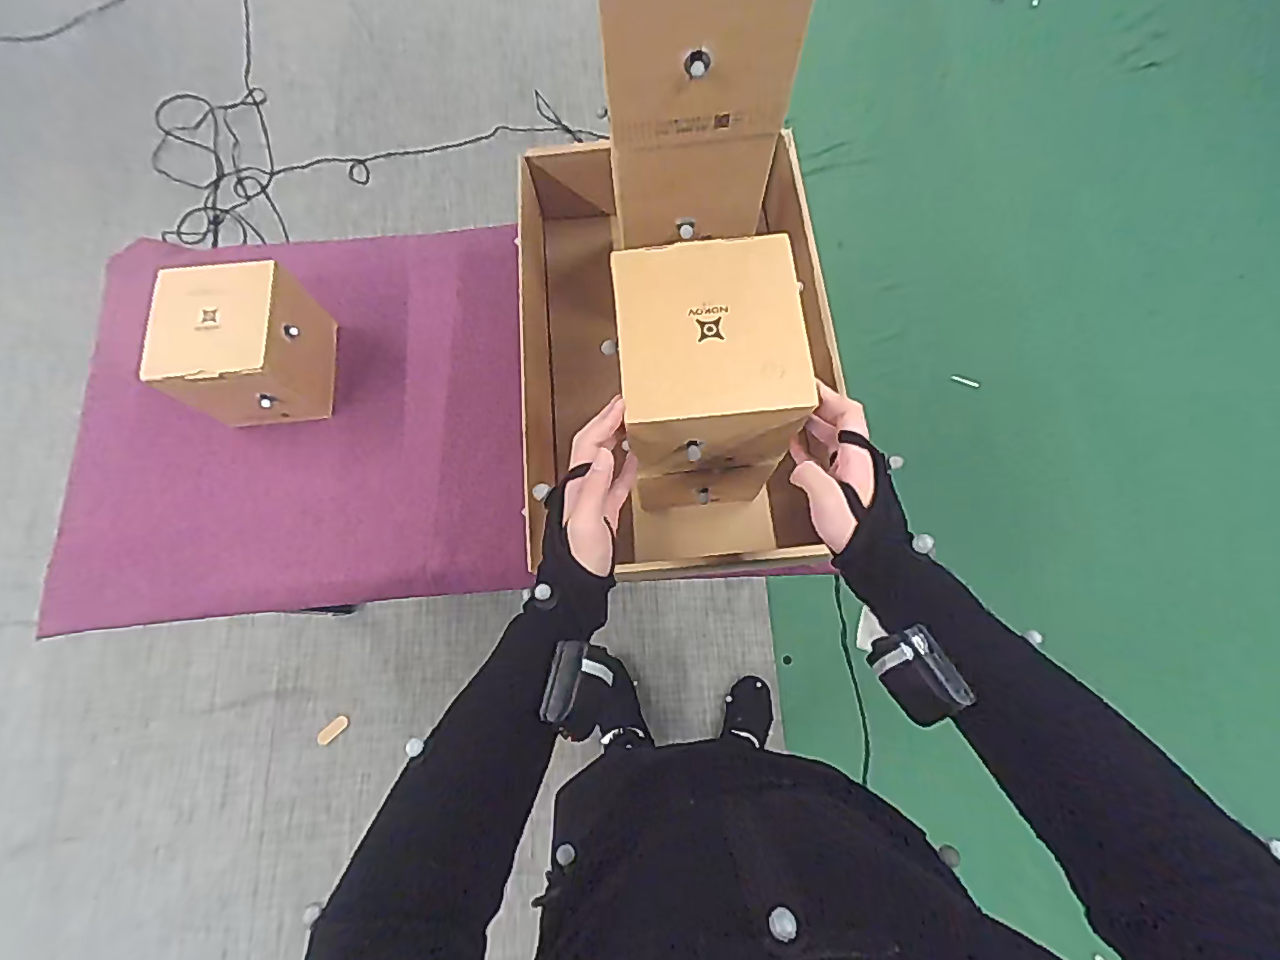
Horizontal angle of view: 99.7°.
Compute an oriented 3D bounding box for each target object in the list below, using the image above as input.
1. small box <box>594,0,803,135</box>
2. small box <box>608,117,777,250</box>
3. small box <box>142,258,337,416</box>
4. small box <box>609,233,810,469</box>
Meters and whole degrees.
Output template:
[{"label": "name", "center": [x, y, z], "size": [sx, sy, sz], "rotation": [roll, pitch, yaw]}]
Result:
[{"label": "small box", "center": [0.043, -0.430, 0.465], "size": [0.168, 0.176, 0.179], "rotation": [-5, 76, 1]}, {"label": "small box", "center": [0.048, -0.392, 0.626], "size": [0.168, 0.176, 0.179], "rotation": [-7, 76, 1]}, {"label": "small box", "center": [-0.585, -0.203, 0.816], "size": [0.168, 0.176, 0.179], "rotation": [-4, 74, -1]}, {"label": "small box", "center": [0.063, -0.115, 0.553], "size": [0.168, 0.176, 0.179], "rotation": [-5, 74, 2]}]
